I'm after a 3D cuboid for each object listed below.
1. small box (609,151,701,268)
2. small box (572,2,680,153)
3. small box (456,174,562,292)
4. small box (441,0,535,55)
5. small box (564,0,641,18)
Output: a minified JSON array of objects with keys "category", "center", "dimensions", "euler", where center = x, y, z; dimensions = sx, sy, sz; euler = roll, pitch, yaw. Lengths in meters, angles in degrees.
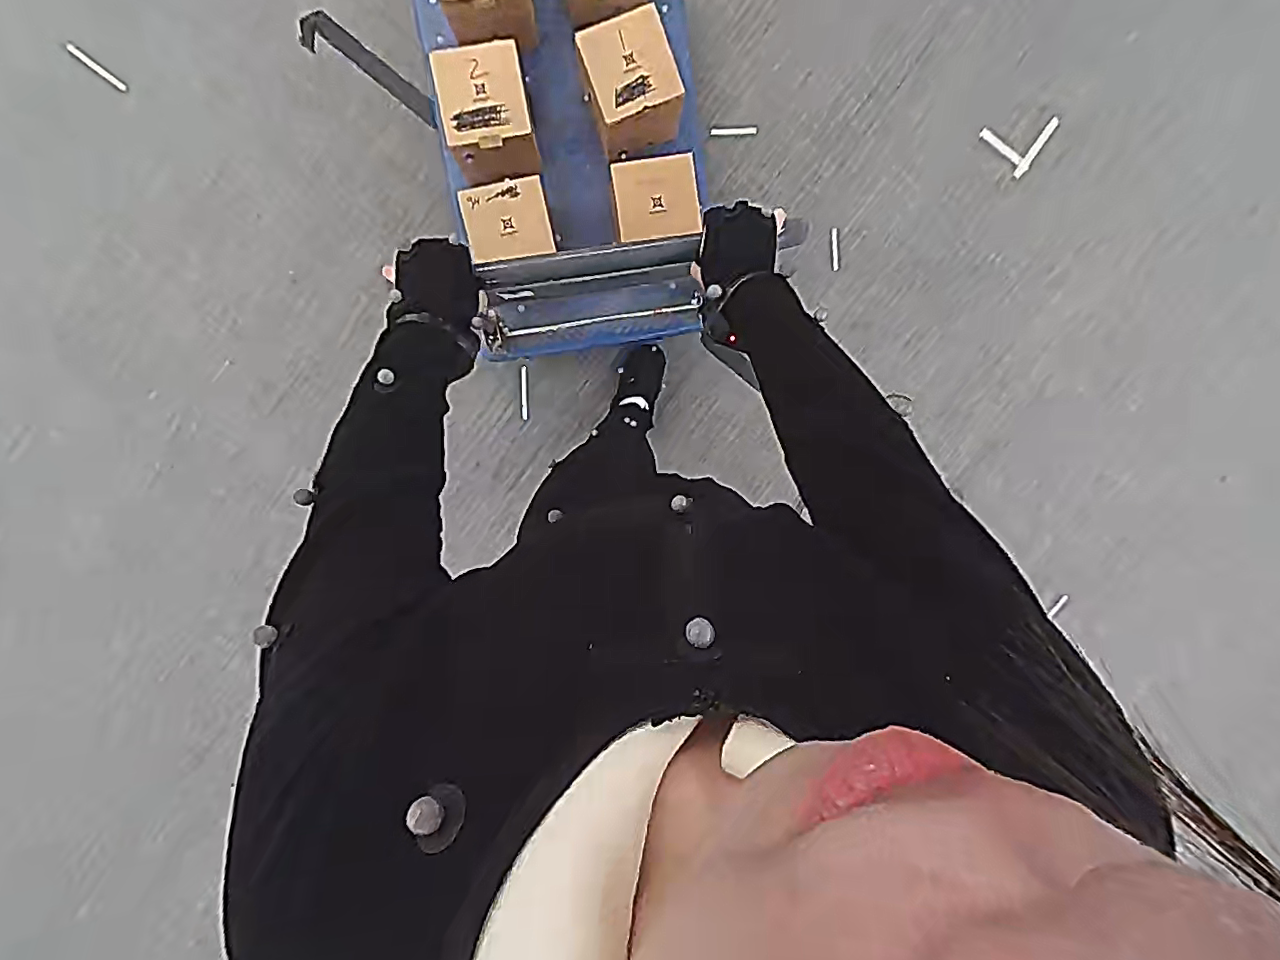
[{"category":"small box","center":[0.028,-0.563,1.151],"dimensions":[0.168,0.176,0.179],"euler":[-9,97,-3]},{"category":"small box","center":[-0.027,-0.812,1.117],"dimensions":[0.168,0.176,0.179],"euler":[-22,97,0]},{"category":"small box","center":[-0.265,-0.508,1.140],"dimensions":[0.168,0.176,0.179],"euler":[-13,98,-2]},{"category":"small box","center":[-0.311,-1.001,1.077],"dimensions":[0.168,0.176,0.179],"euler":[-8,98,-2]},{"category":"small box","center":[-0.088,-1.076,1.082],"dimensions":[0.168,0.176,0.179],"euler":[-13,97,-1]}]
